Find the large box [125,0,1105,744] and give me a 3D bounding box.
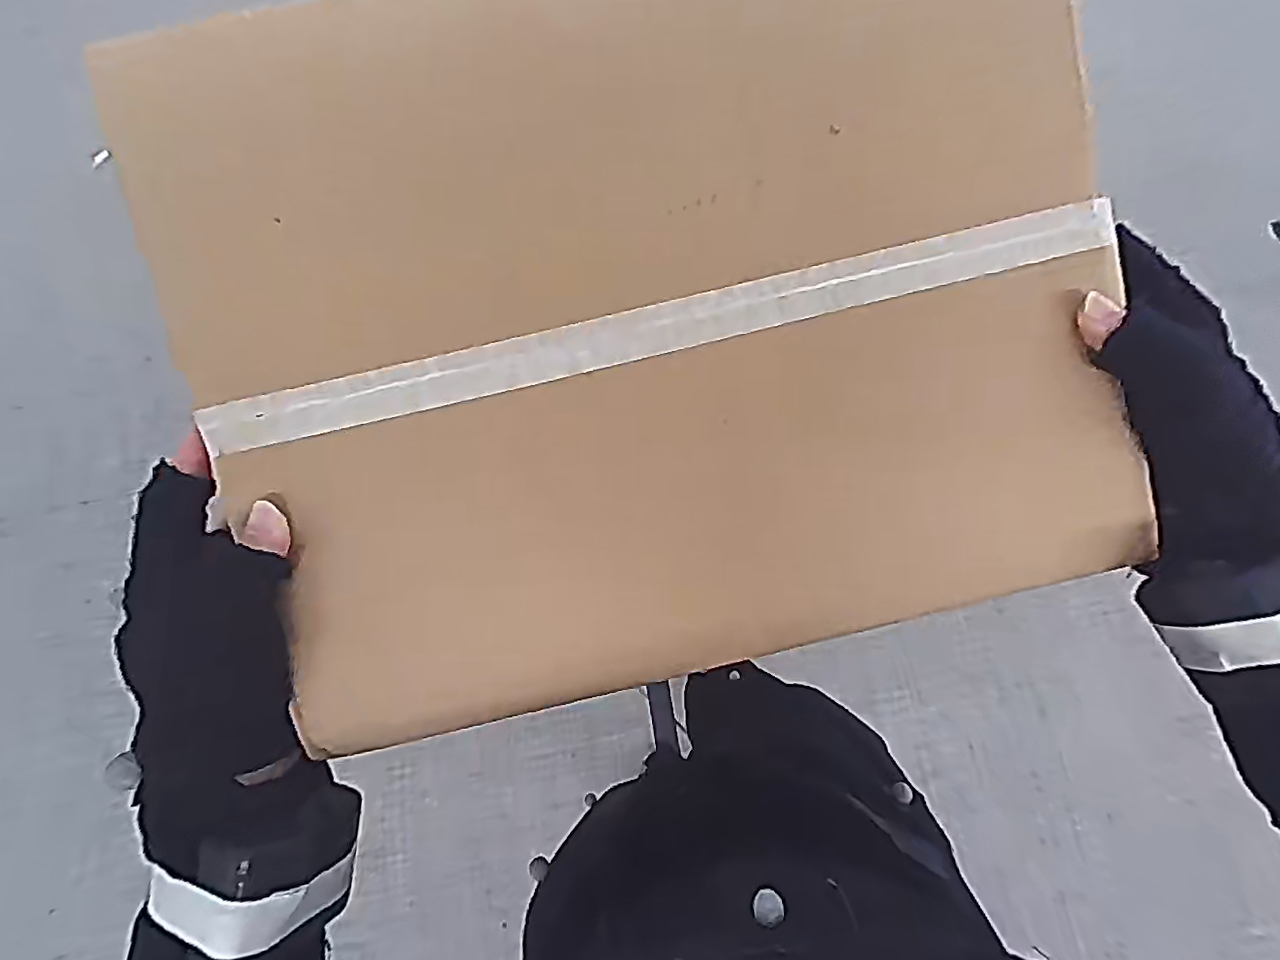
[{"bbox_3d":[0.002,-0.081,0.396,0.408,0.320,0.320,-13,96,-1],"label":"large box"}]
